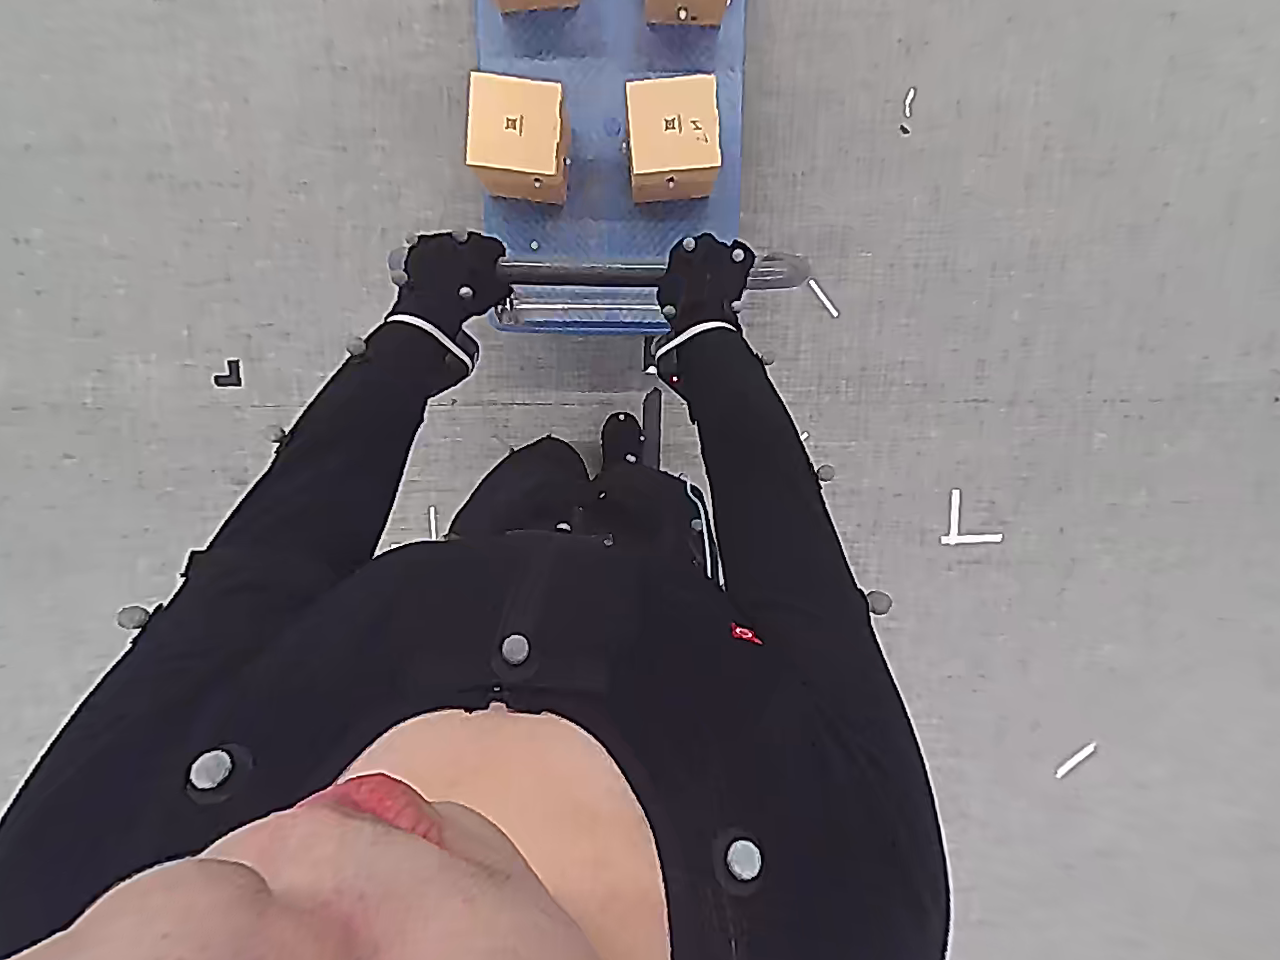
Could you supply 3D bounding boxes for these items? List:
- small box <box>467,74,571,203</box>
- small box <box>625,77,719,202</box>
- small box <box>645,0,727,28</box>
[{"bbox_3d":[-0.244,-0.694,1.118,0.179,0.176,0.168,5,99,-4],"label":"small box"},{"bbox_3d":[0.063,-0.696,1.123,0.179,0.176,0.168,-5,100,0],"label":"small box"},{"bbox_3d":[0.096,-1.044,1.064,0.168,0.176,0.179,1,101,-1],"label":"small box"}]
